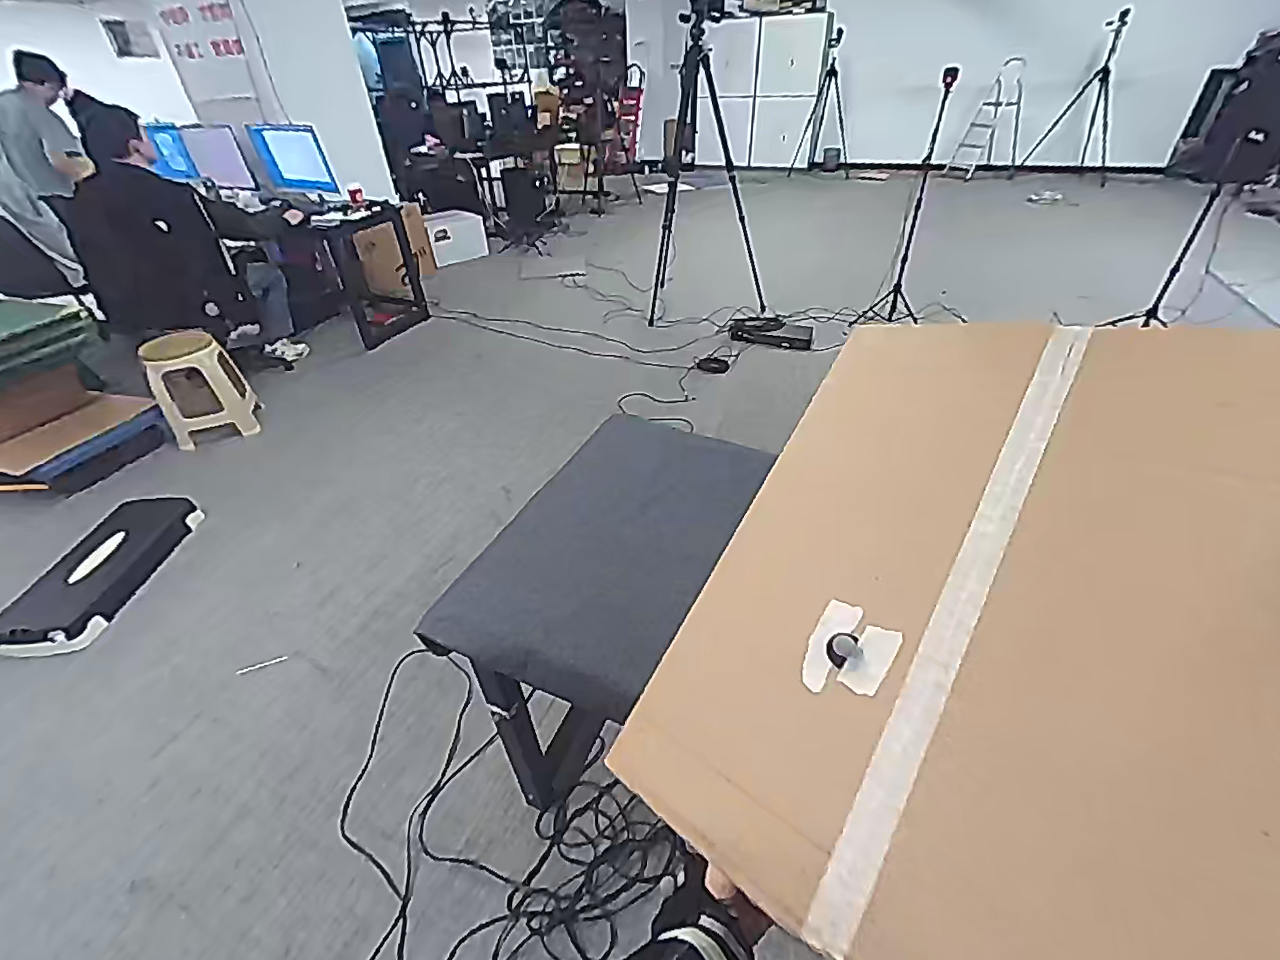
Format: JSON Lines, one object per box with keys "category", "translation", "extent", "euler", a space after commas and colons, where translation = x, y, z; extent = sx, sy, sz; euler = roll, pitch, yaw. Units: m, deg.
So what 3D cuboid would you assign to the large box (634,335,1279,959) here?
{"category": "large box", "translation": [0.271, 0.146, 0.427], "extent": [0.320, 0.320, 0.408], "euler": [17, 69, 42]}
